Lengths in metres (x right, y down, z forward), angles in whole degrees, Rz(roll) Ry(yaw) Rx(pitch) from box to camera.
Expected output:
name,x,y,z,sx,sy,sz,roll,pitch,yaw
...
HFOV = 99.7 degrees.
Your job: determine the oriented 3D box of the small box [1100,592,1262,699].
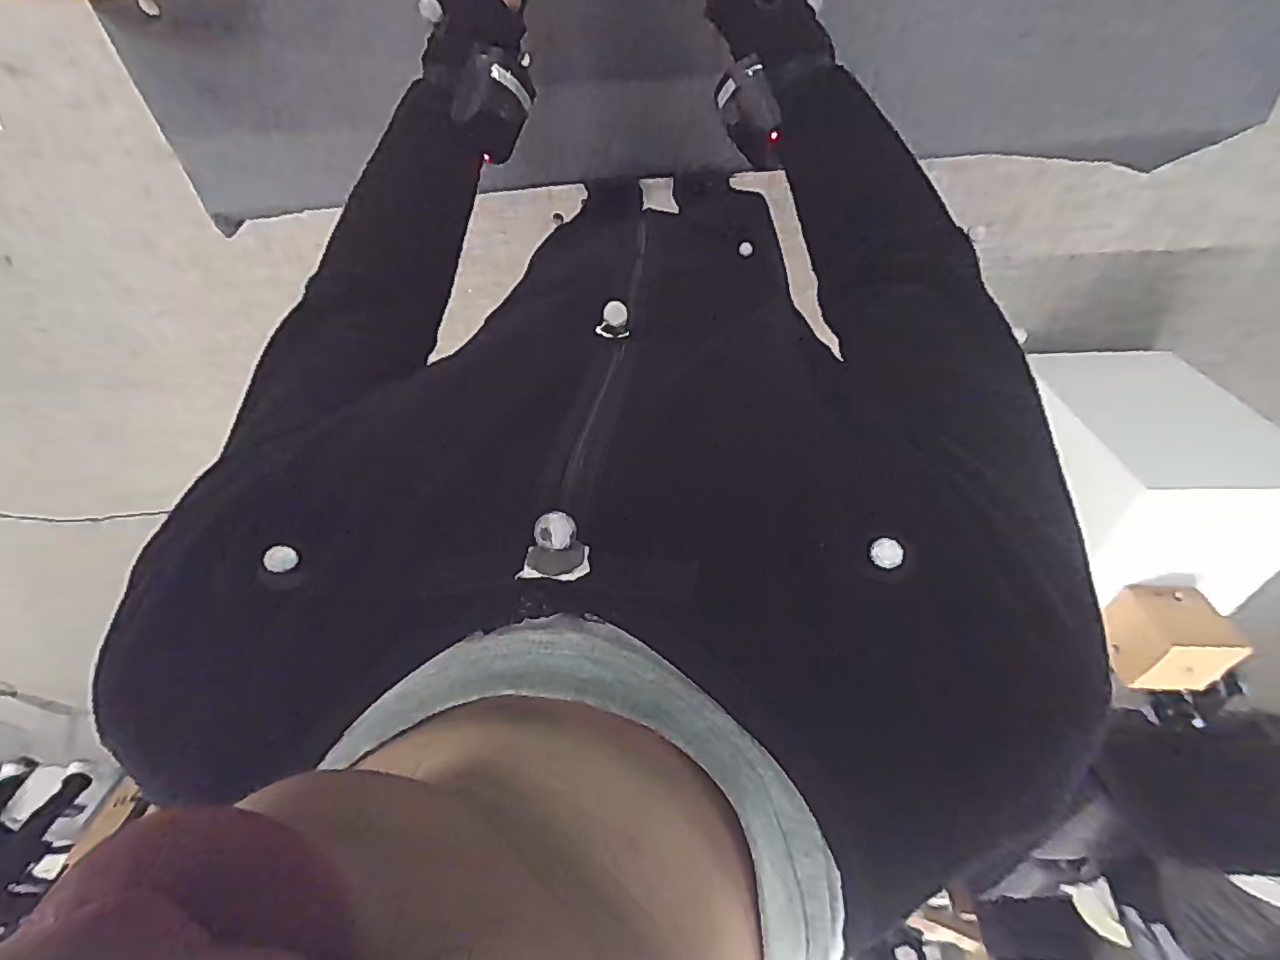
name,x,y,z,sx,sy,sz,roll,pitch,yaw
small box,1.211,0.377,1.233,0.168,0.176,0.179,0,129,3
